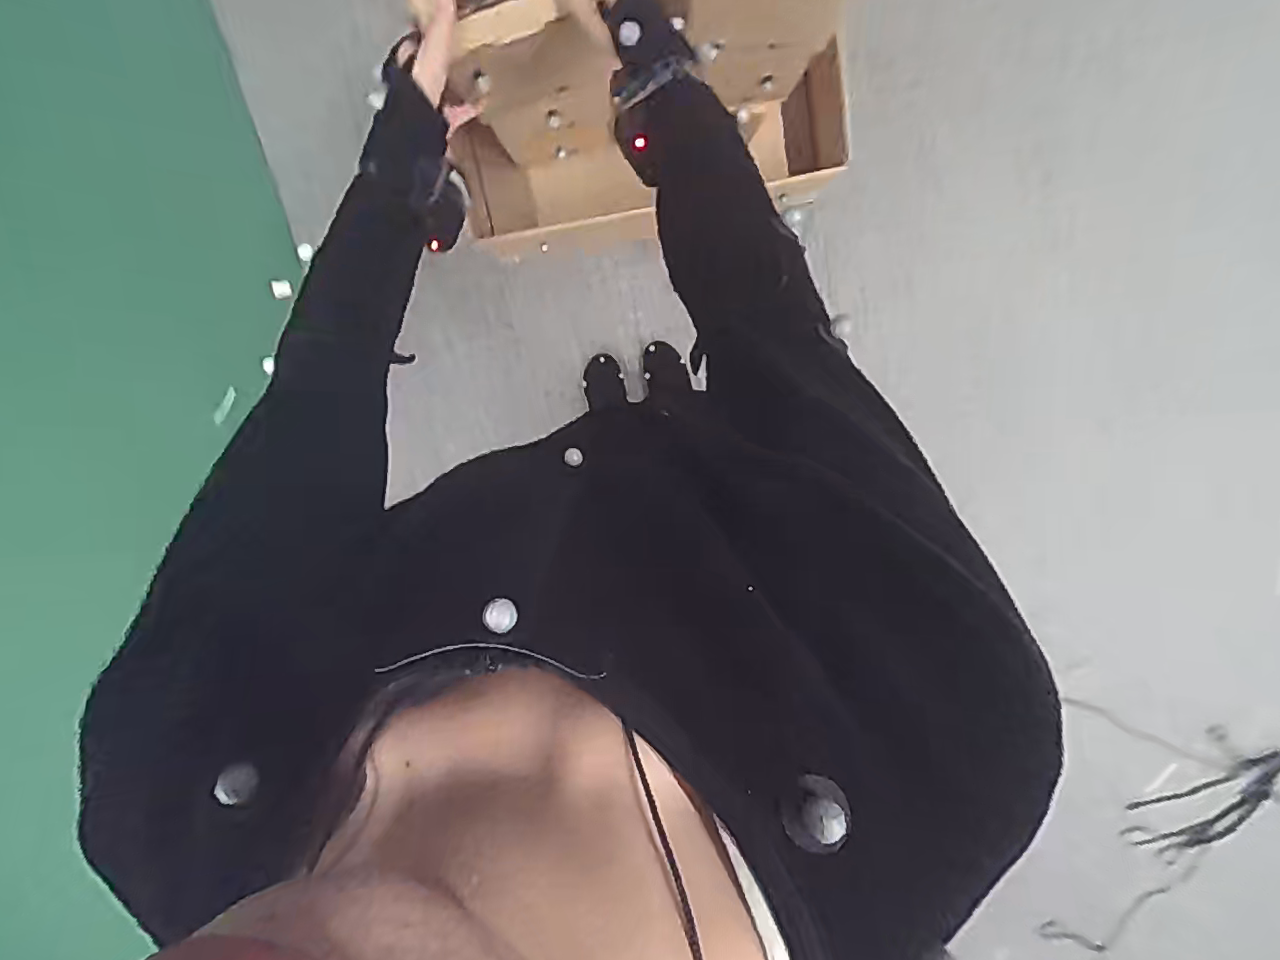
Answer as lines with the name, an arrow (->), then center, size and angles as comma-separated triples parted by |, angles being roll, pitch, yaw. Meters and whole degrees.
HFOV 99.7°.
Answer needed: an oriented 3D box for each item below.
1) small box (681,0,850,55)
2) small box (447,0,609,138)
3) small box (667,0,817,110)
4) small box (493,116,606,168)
small box -> 0.128, -0.550, 0.528 | 0.168, 0.176, 0.179 | -2, 105, 0
small box -> -0.137, -0.565, 0.690 | 0.168, 0.176, 0.179 | -13, 107, 2
small box -> 0.123, -0.596, 0.685 | 0.168, 0.176, 0.179 | -4, 105, 1
small box -> -0.152, -0.621, 0.845 | 0.168, 0.176, 0.179 | -13, 105, 3
